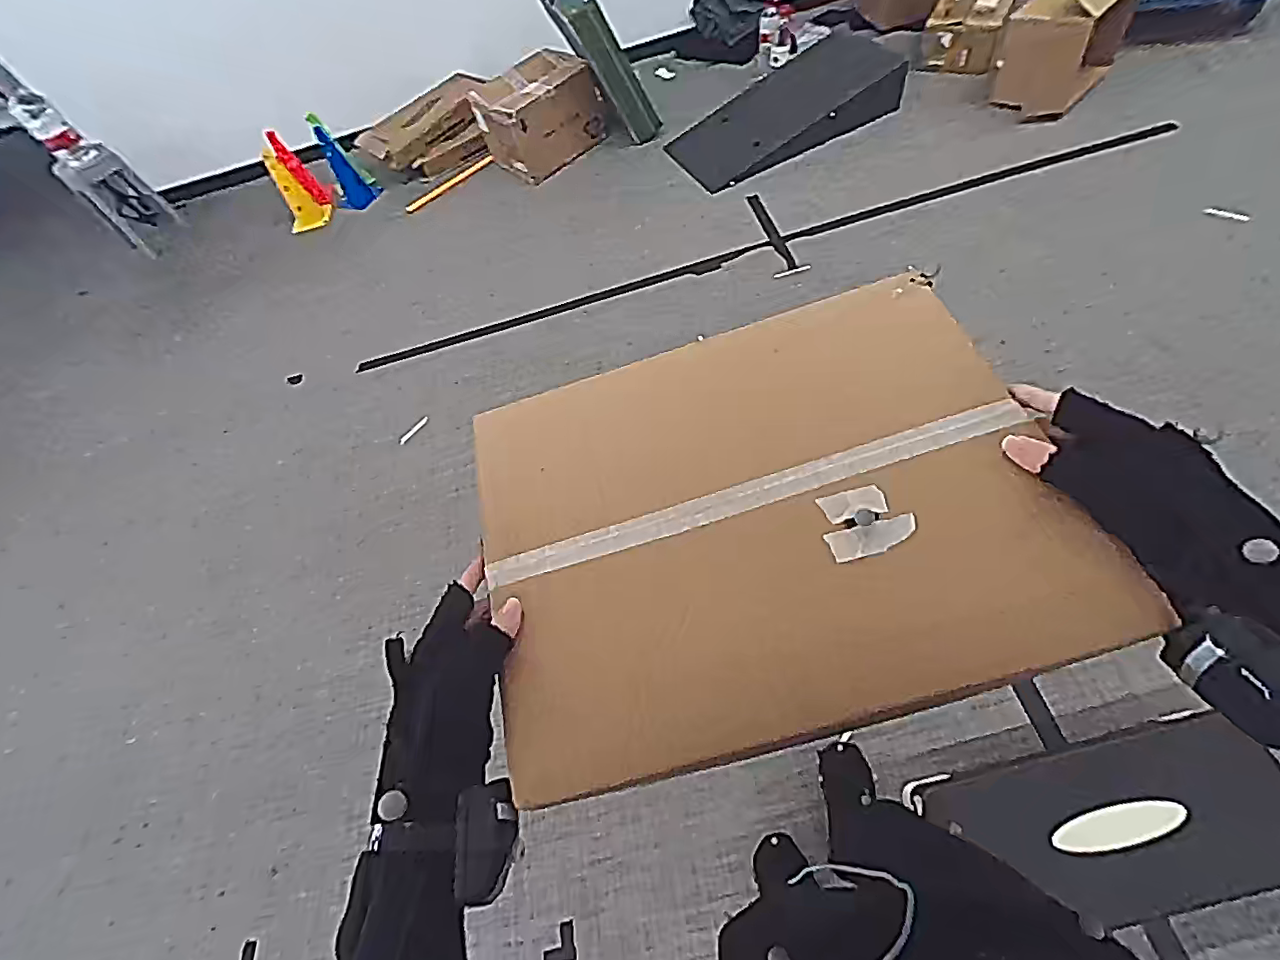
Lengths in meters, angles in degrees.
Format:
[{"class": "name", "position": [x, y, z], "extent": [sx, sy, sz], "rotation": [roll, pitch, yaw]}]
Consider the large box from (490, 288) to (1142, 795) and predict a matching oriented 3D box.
[{"class": "large box", "position": [0.113, 0.085, 0.540], "extent": [0.408, 0.320, 0.320], "rotation": [-17, 61, 3]}]
